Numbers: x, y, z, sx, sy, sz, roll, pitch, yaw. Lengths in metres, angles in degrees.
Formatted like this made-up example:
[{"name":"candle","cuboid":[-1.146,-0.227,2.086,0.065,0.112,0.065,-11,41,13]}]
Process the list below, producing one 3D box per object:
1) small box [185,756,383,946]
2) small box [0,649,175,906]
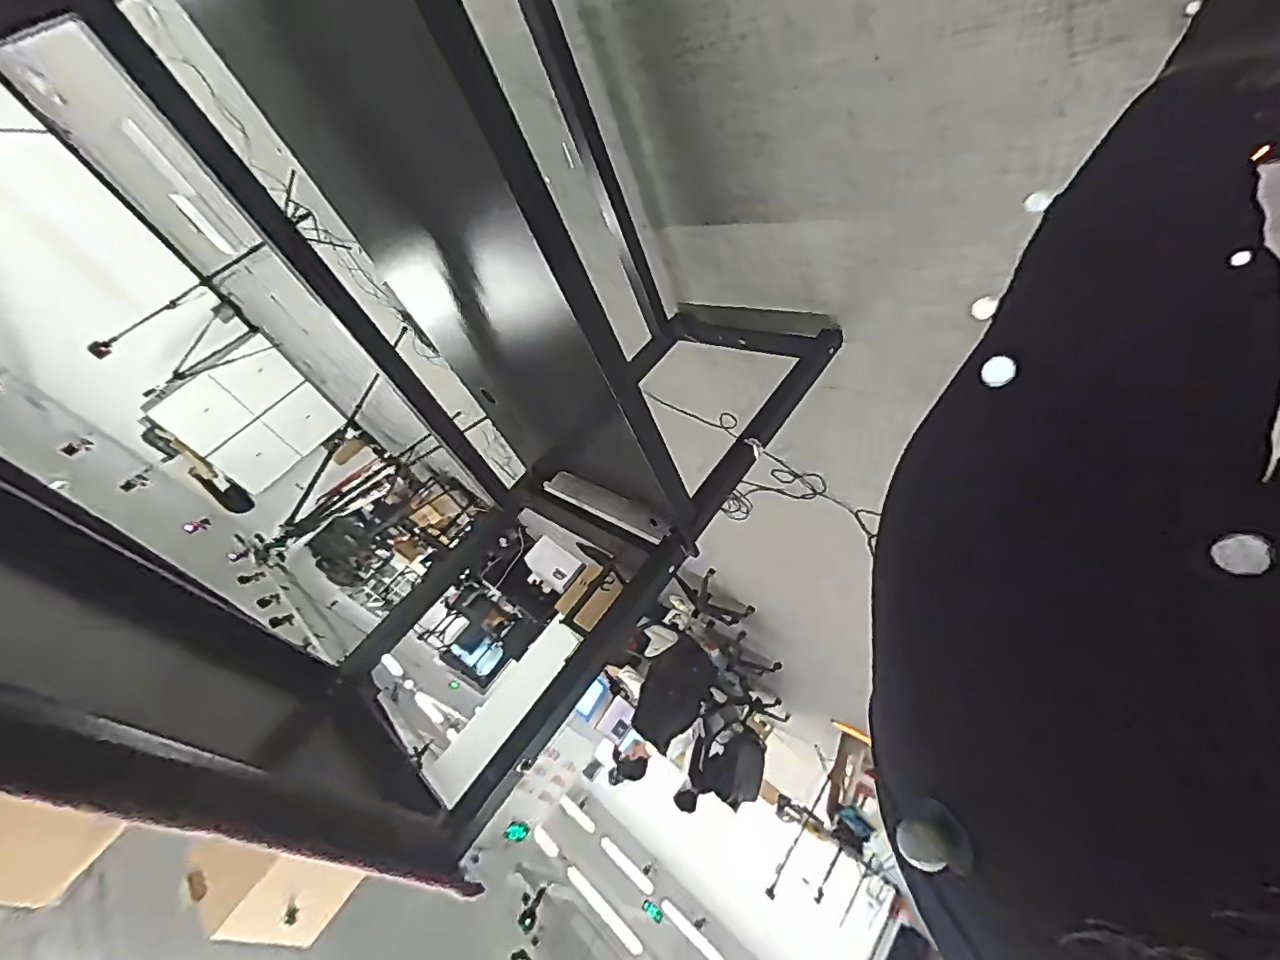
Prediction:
[{"name":"small box","cuboid":[-0.545,0.572,0.845,0.168,0.176,0.179,20,150,40]},{"name":"small box","cuboid":[-0.685,0.330,0.614,0.168,0.176,0.179,23,153,41]}]
